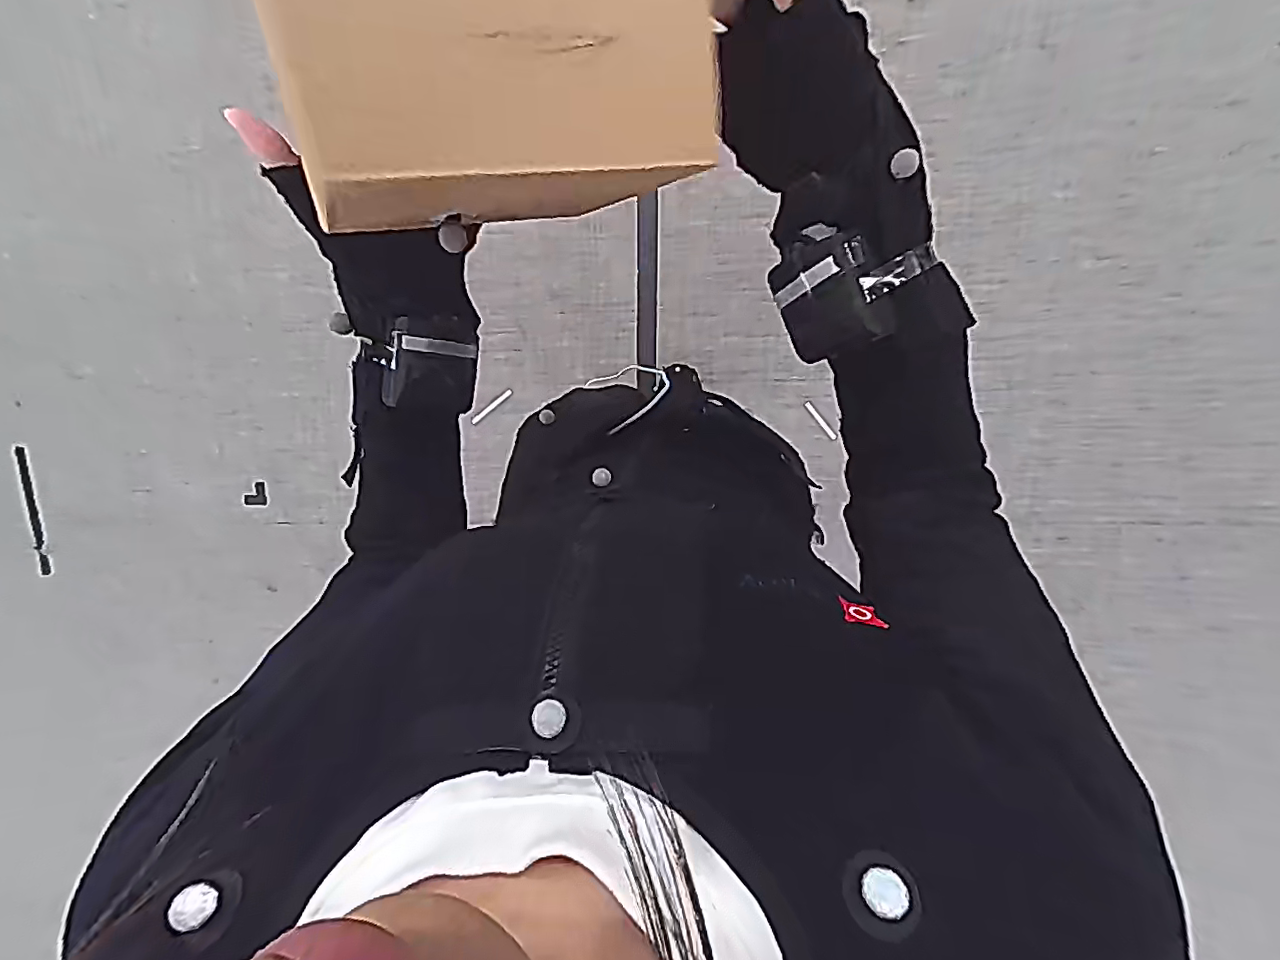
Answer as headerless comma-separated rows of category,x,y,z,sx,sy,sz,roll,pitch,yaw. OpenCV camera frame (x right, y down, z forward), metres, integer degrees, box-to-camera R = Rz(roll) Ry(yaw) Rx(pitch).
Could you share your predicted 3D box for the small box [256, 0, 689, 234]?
small box,-0.092,-0.230,0.268,0.168,0.176,0.179,-15,113,-20
